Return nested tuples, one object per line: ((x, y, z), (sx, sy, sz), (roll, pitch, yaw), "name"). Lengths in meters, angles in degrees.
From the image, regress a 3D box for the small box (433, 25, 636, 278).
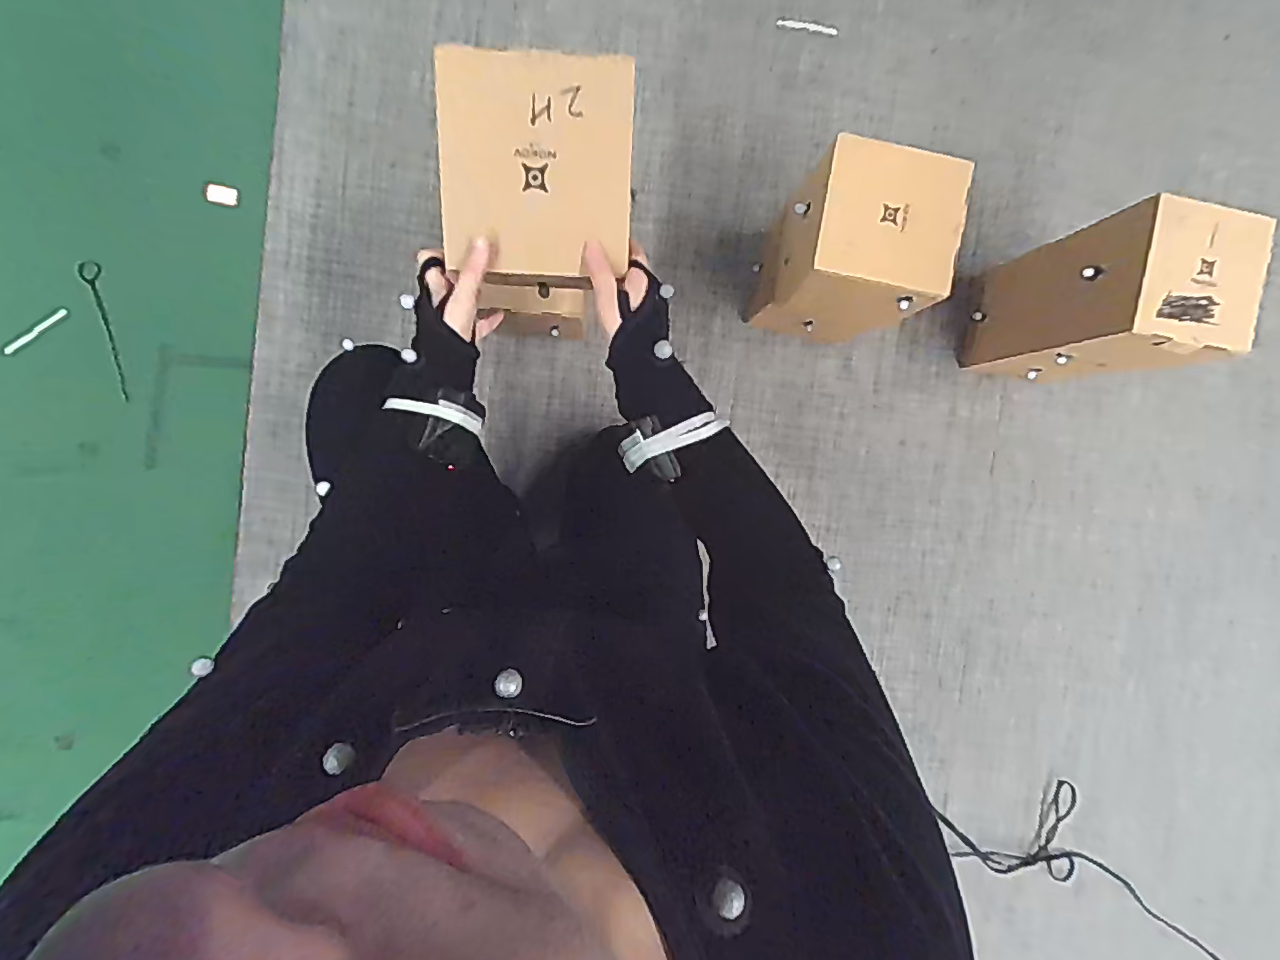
((-0.090, -0.299, 0.533), (0.168, 0.176, 0.179), (2, 106, -2), "small box")

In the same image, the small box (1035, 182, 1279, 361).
((0.698, -0.273, 0.753), (0.168, 0.176, 0.179), (10, 92, -4), "small box")

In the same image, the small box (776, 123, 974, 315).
((0.298, -0.333, 0.726), (0.179, 0.176, 0.168), (10, 93, -4), "small box")

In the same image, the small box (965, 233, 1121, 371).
((0.690, -0.289, 0.918), (0.168, 0.176, 0.179), (8, 94, -5), "small box")
